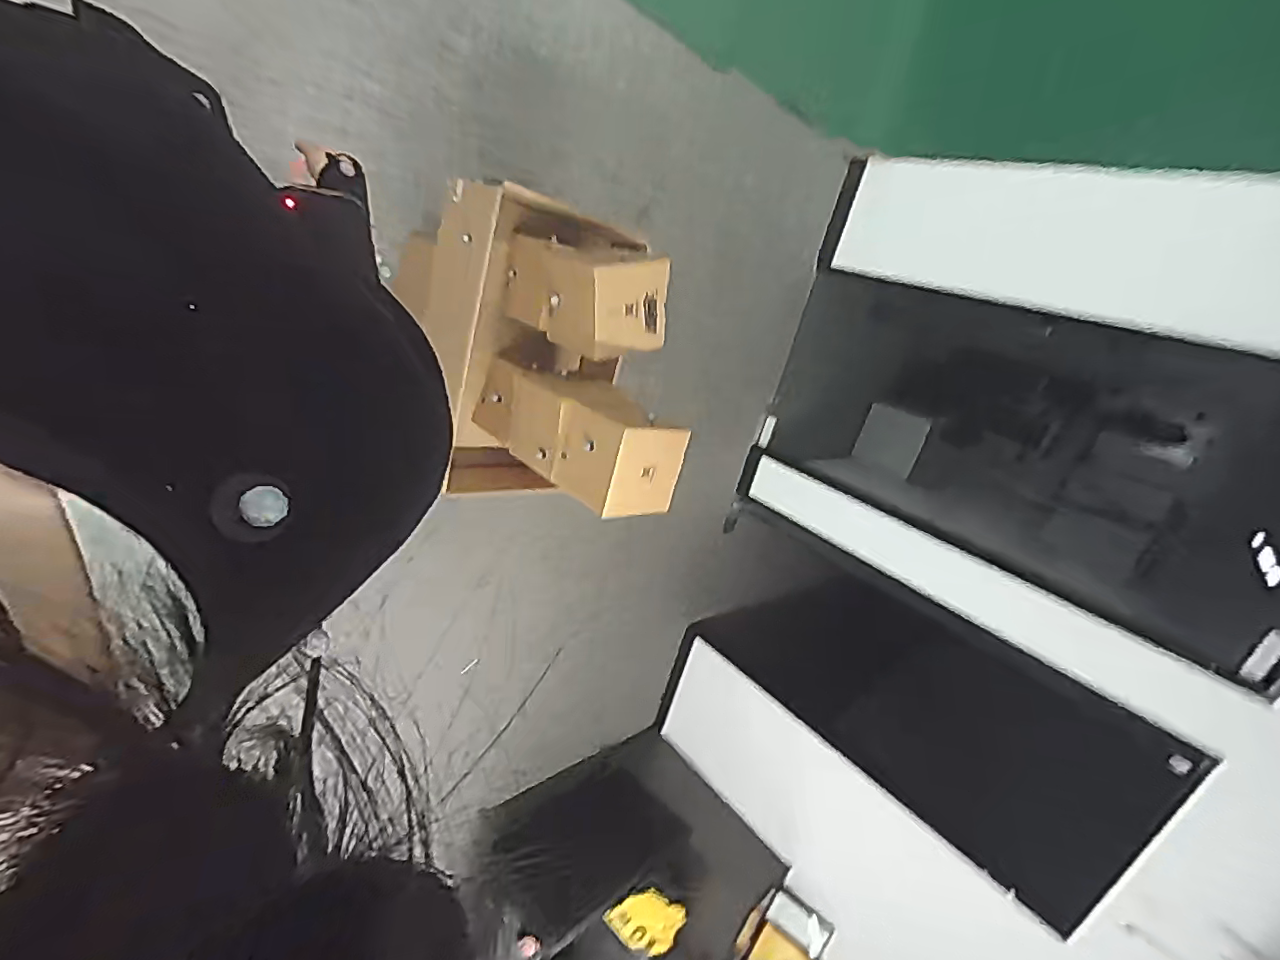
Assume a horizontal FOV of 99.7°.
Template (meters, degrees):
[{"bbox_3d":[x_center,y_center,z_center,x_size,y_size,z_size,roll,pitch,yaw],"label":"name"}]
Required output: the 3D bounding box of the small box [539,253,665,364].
[{"bbox_3d":[-0.077,-0.339,1.047,0.179,0.176,0.168,-21,128,-36],"label":"small box"}]

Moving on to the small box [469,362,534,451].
[{"bbox_3d":[-0.261,-0.157,1.234,0.179,0.176,0.168,12,106,-49],"label":"small box"}]

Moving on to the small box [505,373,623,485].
[{"bbox_3d":[-0.162,-0.111,1.109,0.168,0.176,0.179,-13,122,-43],"label":"small box"}]

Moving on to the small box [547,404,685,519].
[{"bbox_3d":[-0.050,-0.039,1.015,0.179,0.176,0.168,-3,115,-47],"label":"small box"}]
